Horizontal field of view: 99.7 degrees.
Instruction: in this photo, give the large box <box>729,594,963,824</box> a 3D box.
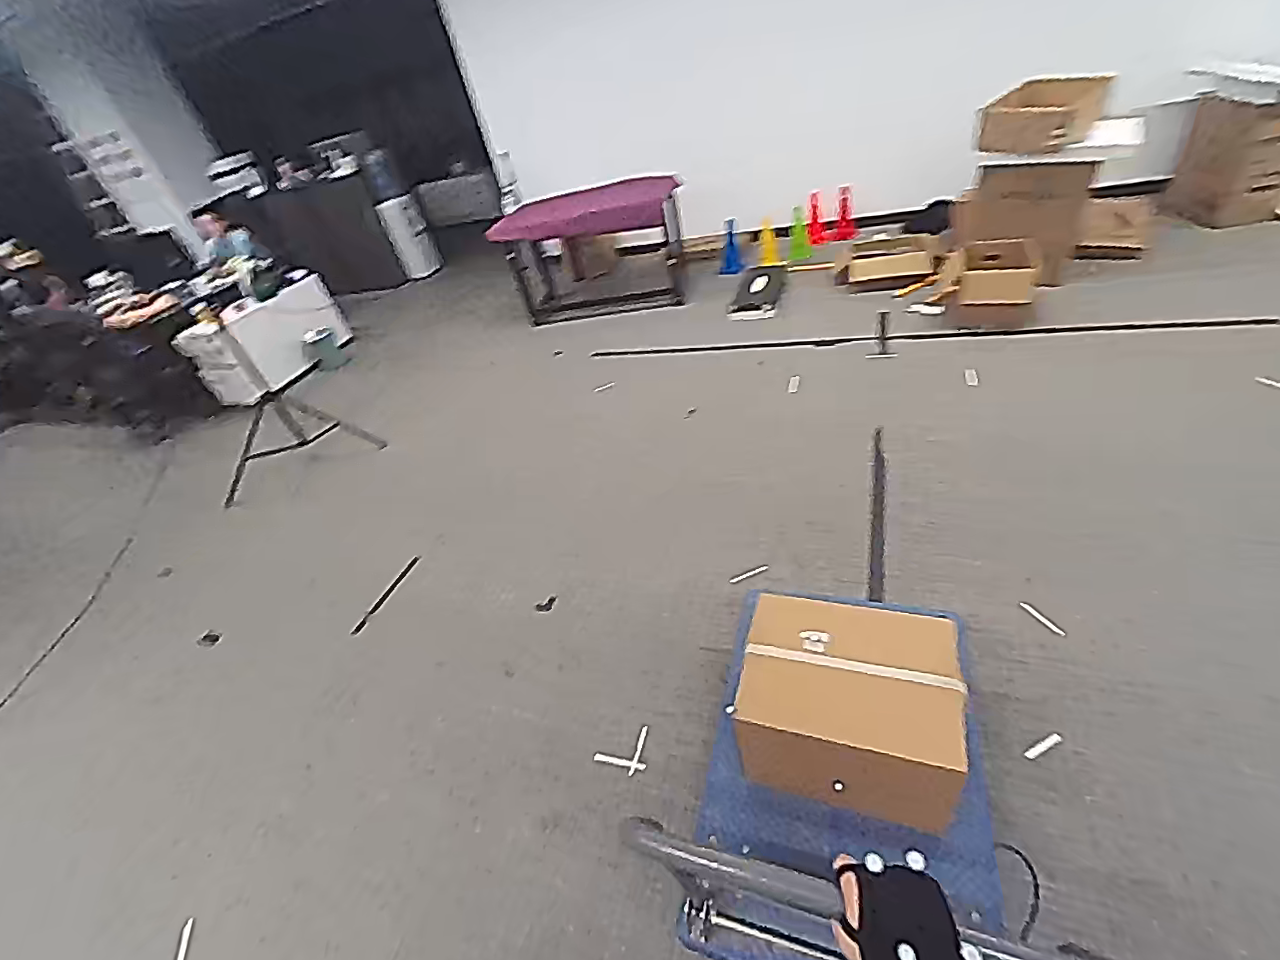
[{"bbox_3d":[0.437,0.482,1.171,0.408,0.320,0.320,2,41,23],"label":"large box"}]
